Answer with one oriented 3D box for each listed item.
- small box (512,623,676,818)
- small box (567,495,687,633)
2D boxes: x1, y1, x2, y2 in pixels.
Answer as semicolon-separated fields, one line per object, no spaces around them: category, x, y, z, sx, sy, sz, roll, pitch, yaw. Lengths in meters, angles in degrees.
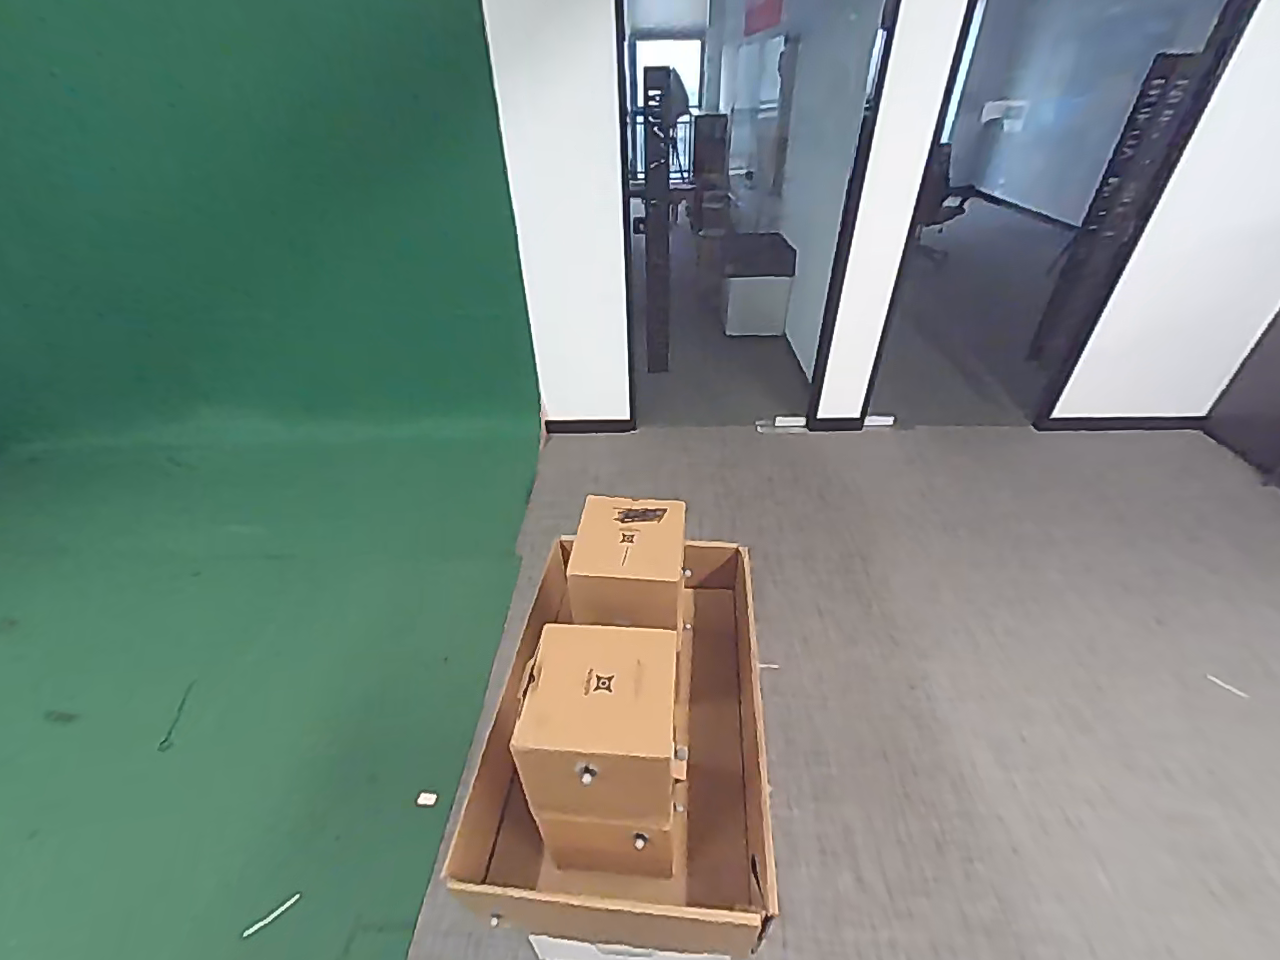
small box;-0.046;0.305;0.690;0.179;0.176;0.168;3;37;4
small box;-0.015;0.149;0.888;0.168;0.176;0.179;4;40;6
